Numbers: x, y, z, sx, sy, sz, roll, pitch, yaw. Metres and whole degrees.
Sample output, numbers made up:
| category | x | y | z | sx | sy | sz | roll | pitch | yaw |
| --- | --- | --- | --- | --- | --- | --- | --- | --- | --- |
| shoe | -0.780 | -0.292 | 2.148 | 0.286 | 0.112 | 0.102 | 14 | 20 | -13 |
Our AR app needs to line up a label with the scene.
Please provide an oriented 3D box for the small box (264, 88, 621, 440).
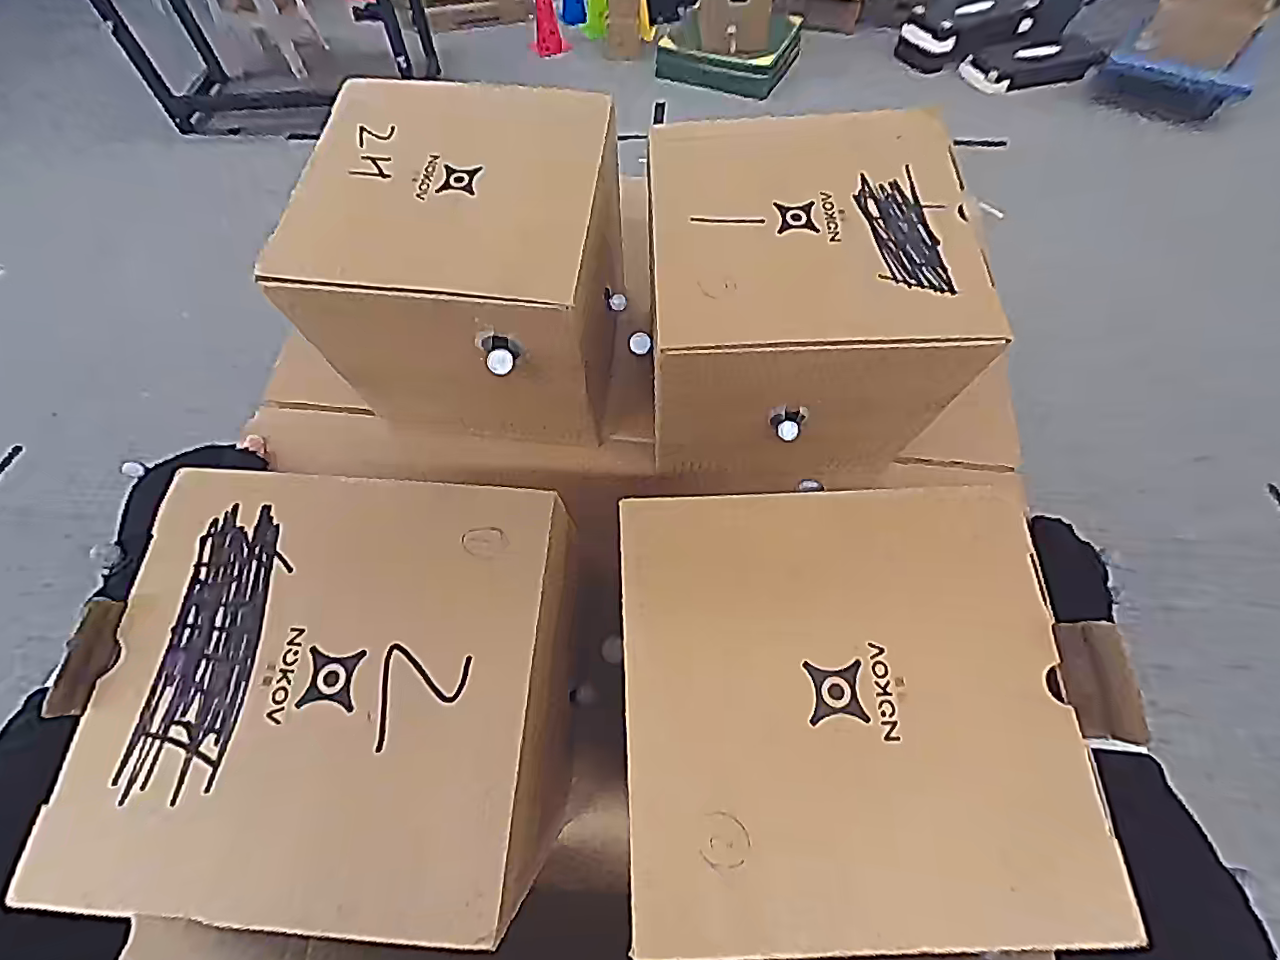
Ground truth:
| category | x | y | z | sx | sy | sz | roll | pitch | yaw |
| --- | --- | --- | --- | --- | --- | --- | --- | --- | --- |
| small box | -0.111 | -0.142 | 0.396 | 0.179 | 0.176 | 0.168 | 6 | 67 | 4 |
